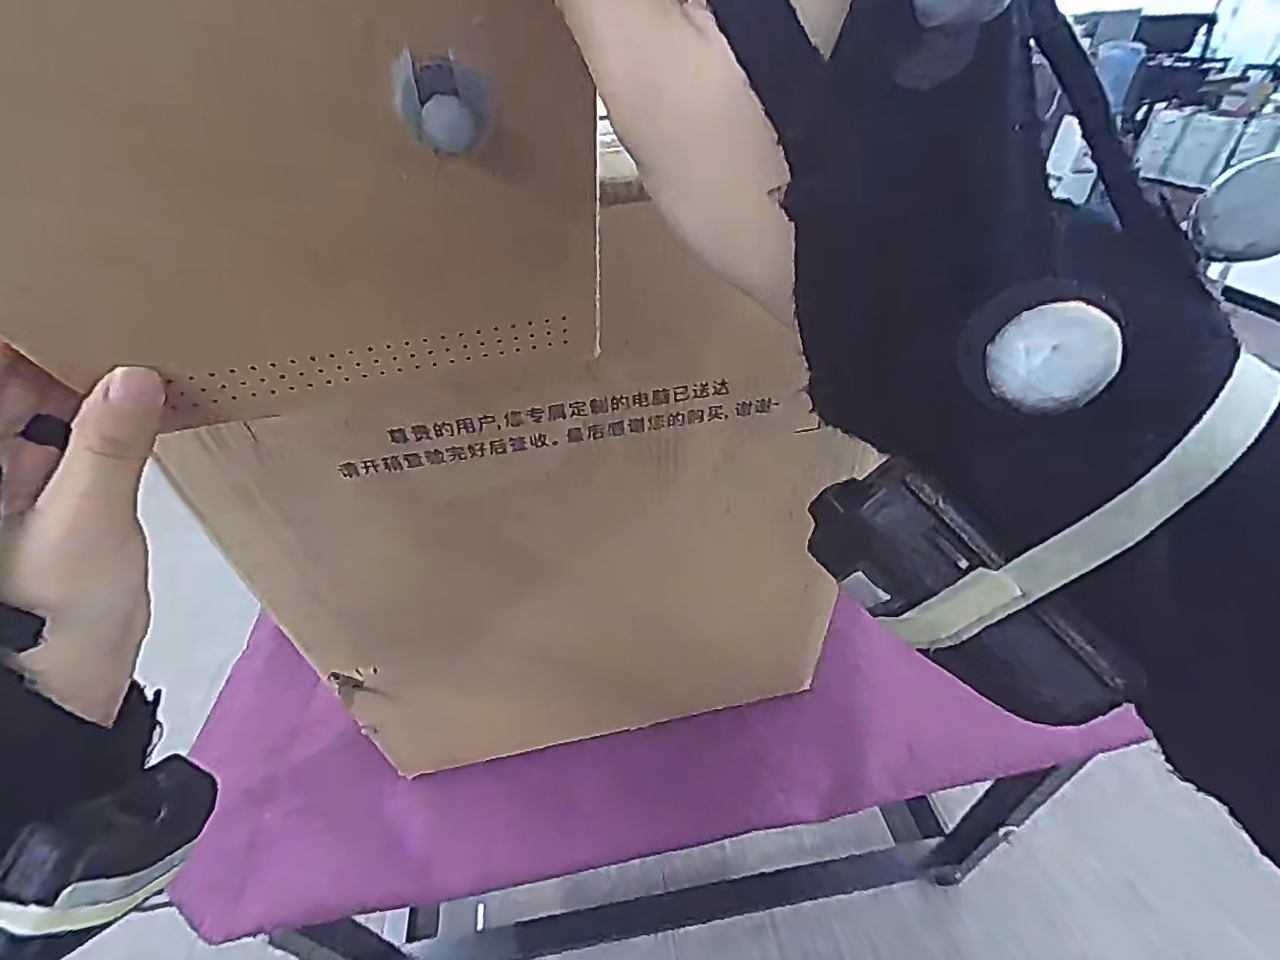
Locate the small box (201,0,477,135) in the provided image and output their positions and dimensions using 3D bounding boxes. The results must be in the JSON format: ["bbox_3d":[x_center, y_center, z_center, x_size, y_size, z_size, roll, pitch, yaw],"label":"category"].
[{"bbox_3d":[-0.240,-0.393,0.449,0.168,0.176,0.179,-6,39,-6],"label":"small box"}]
